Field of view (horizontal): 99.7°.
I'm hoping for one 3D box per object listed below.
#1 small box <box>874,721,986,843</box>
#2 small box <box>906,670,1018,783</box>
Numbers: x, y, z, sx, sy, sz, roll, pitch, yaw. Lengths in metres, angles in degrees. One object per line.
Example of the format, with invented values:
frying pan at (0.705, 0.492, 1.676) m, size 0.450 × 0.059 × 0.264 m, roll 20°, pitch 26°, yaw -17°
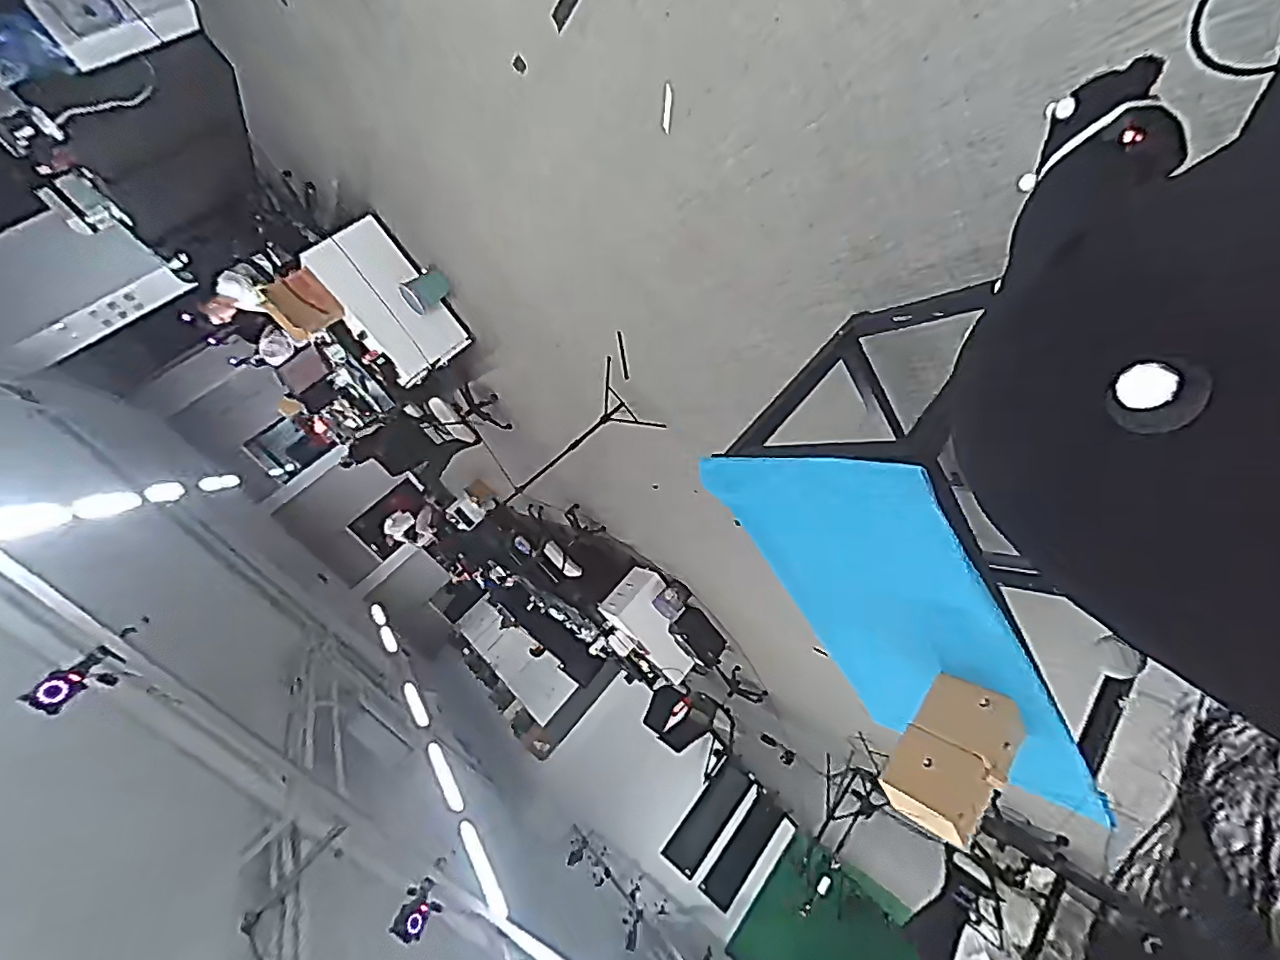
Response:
small box at (0.713, 0.743, 1.331) m, size 0.179 × 0.176 × 0.168 m, roll 10°, pitch 140°, yaw 51°
small box at (0.821, 0.629, 1.381) m, size 0.179 × 0.176 × 0.168 m, roll 8°, pitch 137°, yaw 55°
